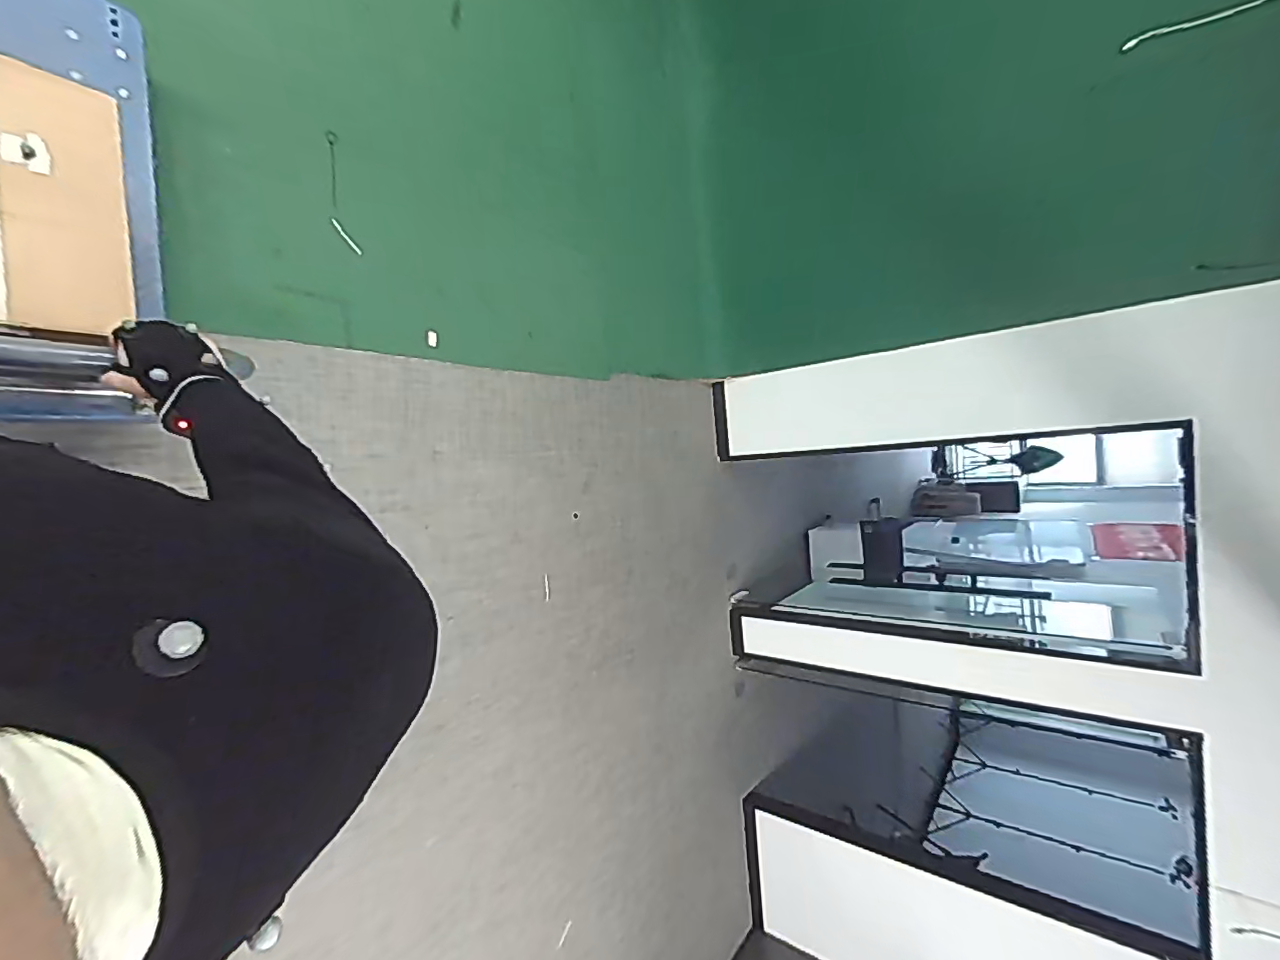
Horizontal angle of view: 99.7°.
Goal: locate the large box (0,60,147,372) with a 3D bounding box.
[{"bbox_3d":[-1.052,-0.409,0.875,0.320,0.320,0.408,-5,91,-52],"label":"large box"}]
